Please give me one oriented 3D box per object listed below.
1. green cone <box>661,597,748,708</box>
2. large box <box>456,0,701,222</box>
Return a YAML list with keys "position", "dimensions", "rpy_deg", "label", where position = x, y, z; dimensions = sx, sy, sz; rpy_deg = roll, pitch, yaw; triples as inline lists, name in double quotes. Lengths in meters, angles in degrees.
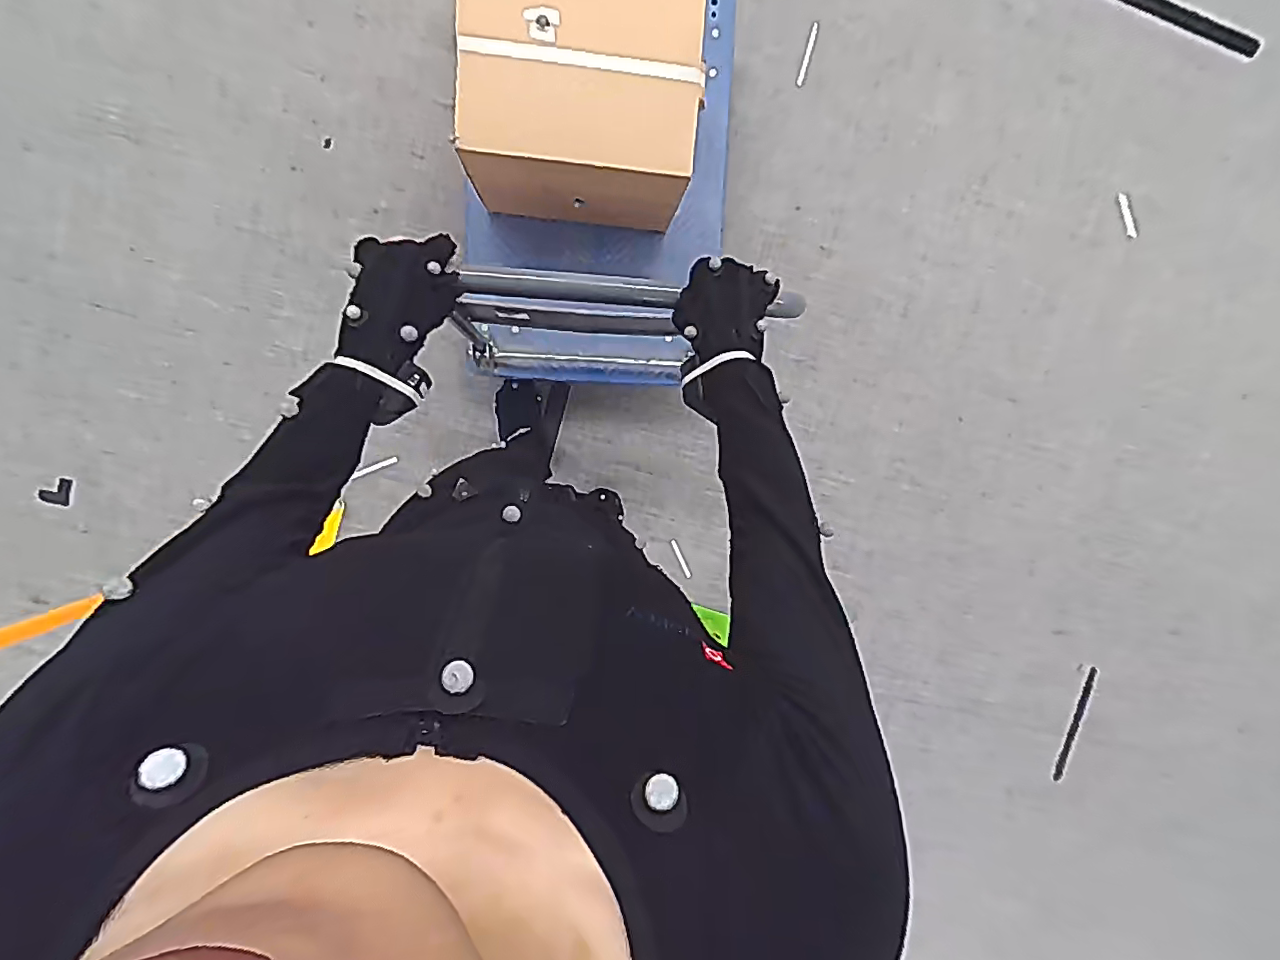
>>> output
- position: [0.199, 0.475, 1.394]
  dimensions: [0.202, 0.368, 0.200]
  rpy_deg: [18, 96, -9]
  label: "green cone"
- position: [-0.112, -0.722, 1.052]
  dimensions: [0.408, 0.320, 0.320]
  rpy_deg: [4, 98, -5]
  label: "large box"
